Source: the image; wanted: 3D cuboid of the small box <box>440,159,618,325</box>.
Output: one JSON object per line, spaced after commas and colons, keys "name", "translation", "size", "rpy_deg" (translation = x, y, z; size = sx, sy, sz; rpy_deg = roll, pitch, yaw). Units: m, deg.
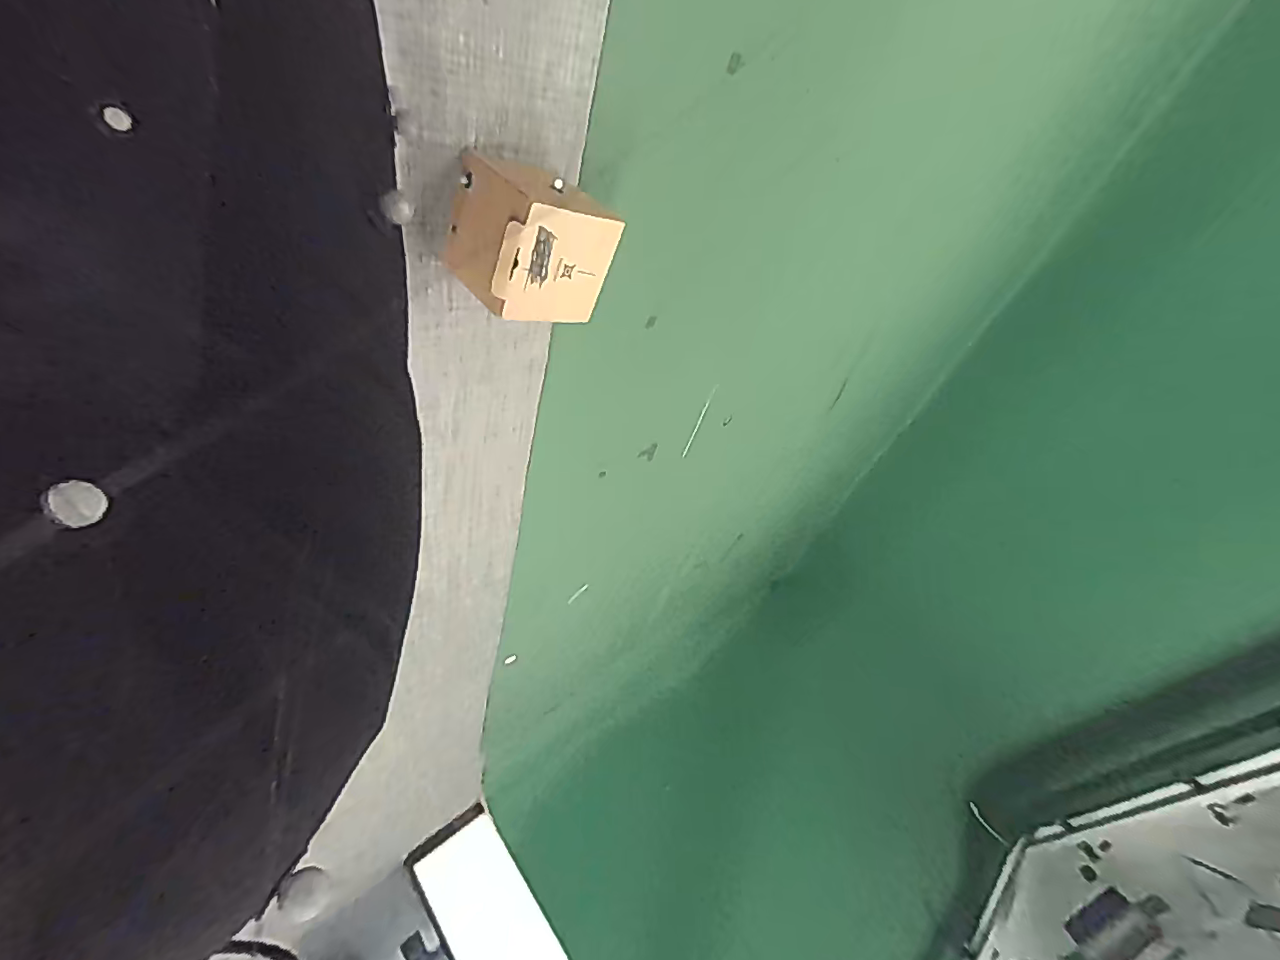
{"name": "small box", "translation": [-0.171, -0.349, 0.804], "size": [0.179, 0.176, 0.168], "rpy_deg": [-17, 143, -47]}
